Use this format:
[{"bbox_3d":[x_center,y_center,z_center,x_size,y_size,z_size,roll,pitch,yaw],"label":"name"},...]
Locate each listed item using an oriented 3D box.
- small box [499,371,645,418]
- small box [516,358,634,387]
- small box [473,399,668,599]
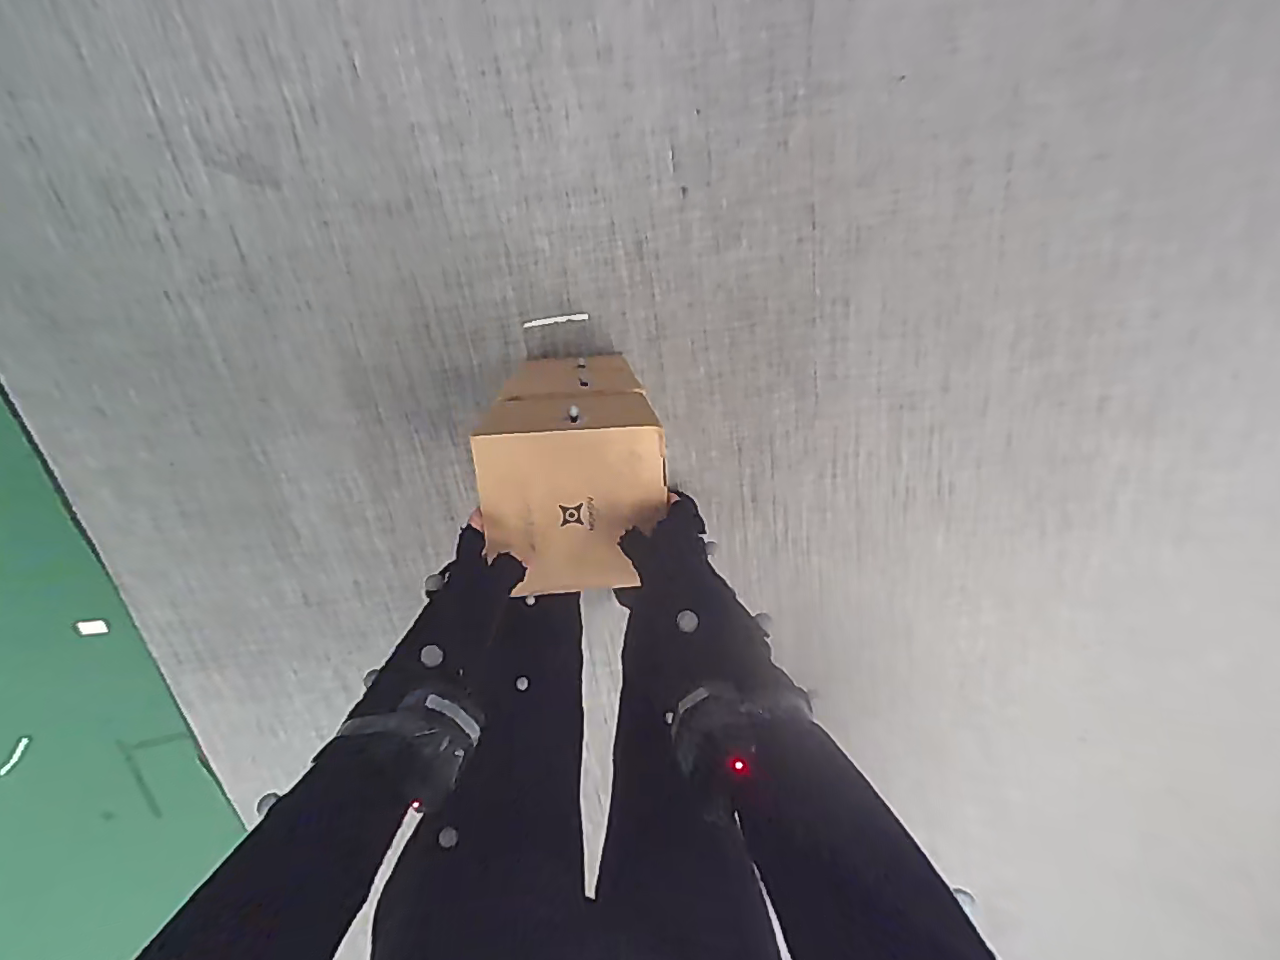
[{"bbox_3d":[-0.085,-0.050,0.744,0.179,0.176,0.168,-6,112,-3],"label":"small box"},{"bbox_3d":[-0.100,-0.107,0.894,0.179,0.176,0.168,-4,110,-4],"label":"small box"},{"bbox_3d":[-0.069,0.009,0.591,0.179,0.176,0.168,-4,109,-4],"label":"small box"}]
